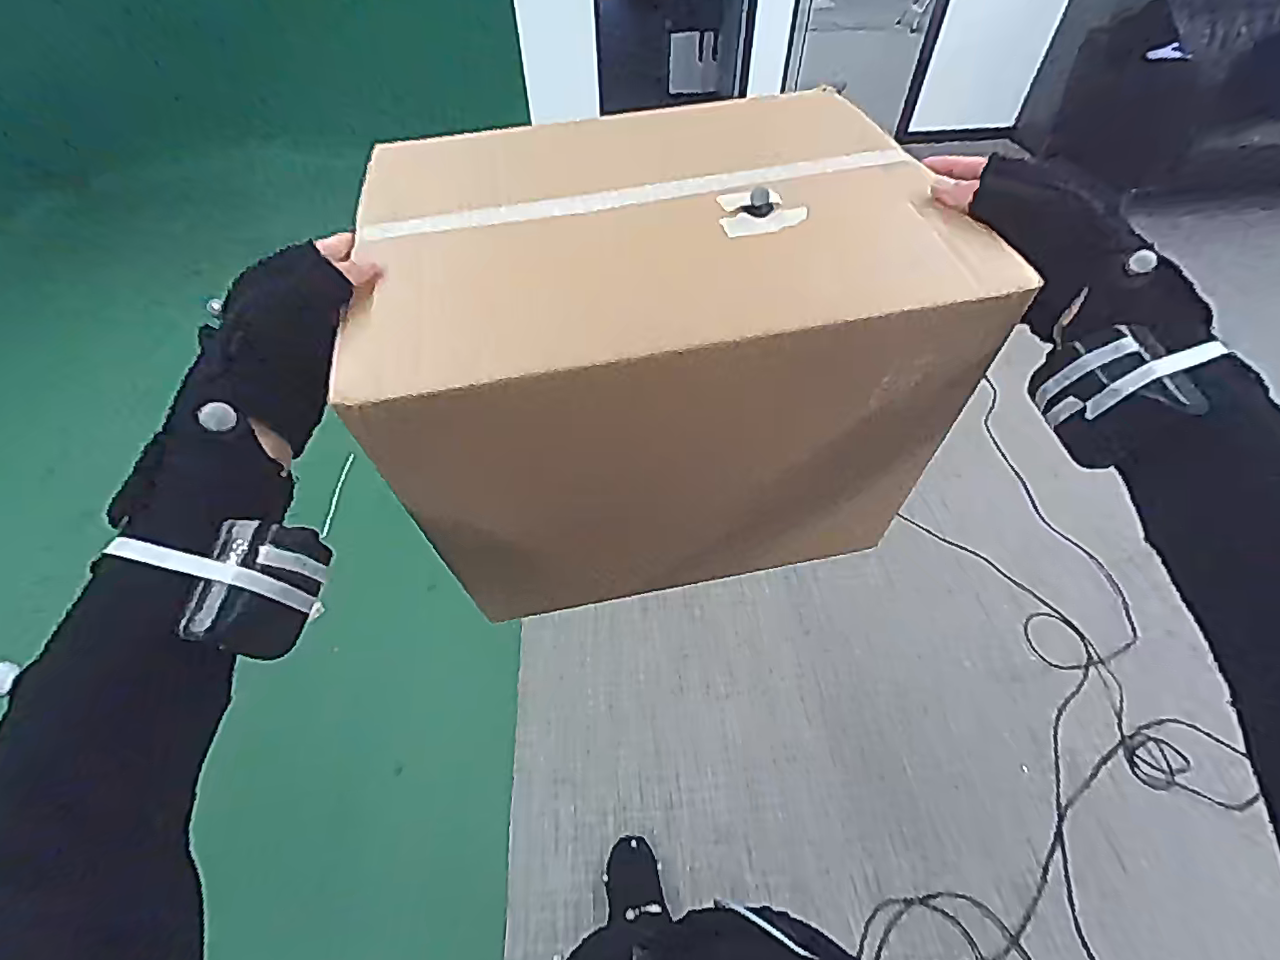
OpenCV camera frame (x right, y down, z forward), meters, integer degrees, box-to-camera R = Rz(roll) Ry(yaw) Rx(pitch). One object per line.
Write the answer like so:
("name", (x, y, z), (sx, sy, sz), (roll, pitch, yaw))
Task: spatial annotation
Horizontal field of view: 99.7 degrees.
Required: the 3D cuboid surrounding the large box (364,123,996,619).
("large box", (0.009, -0.101, 0.530), (0.408, 0.320, 0.320), (-10, 54, -5))
